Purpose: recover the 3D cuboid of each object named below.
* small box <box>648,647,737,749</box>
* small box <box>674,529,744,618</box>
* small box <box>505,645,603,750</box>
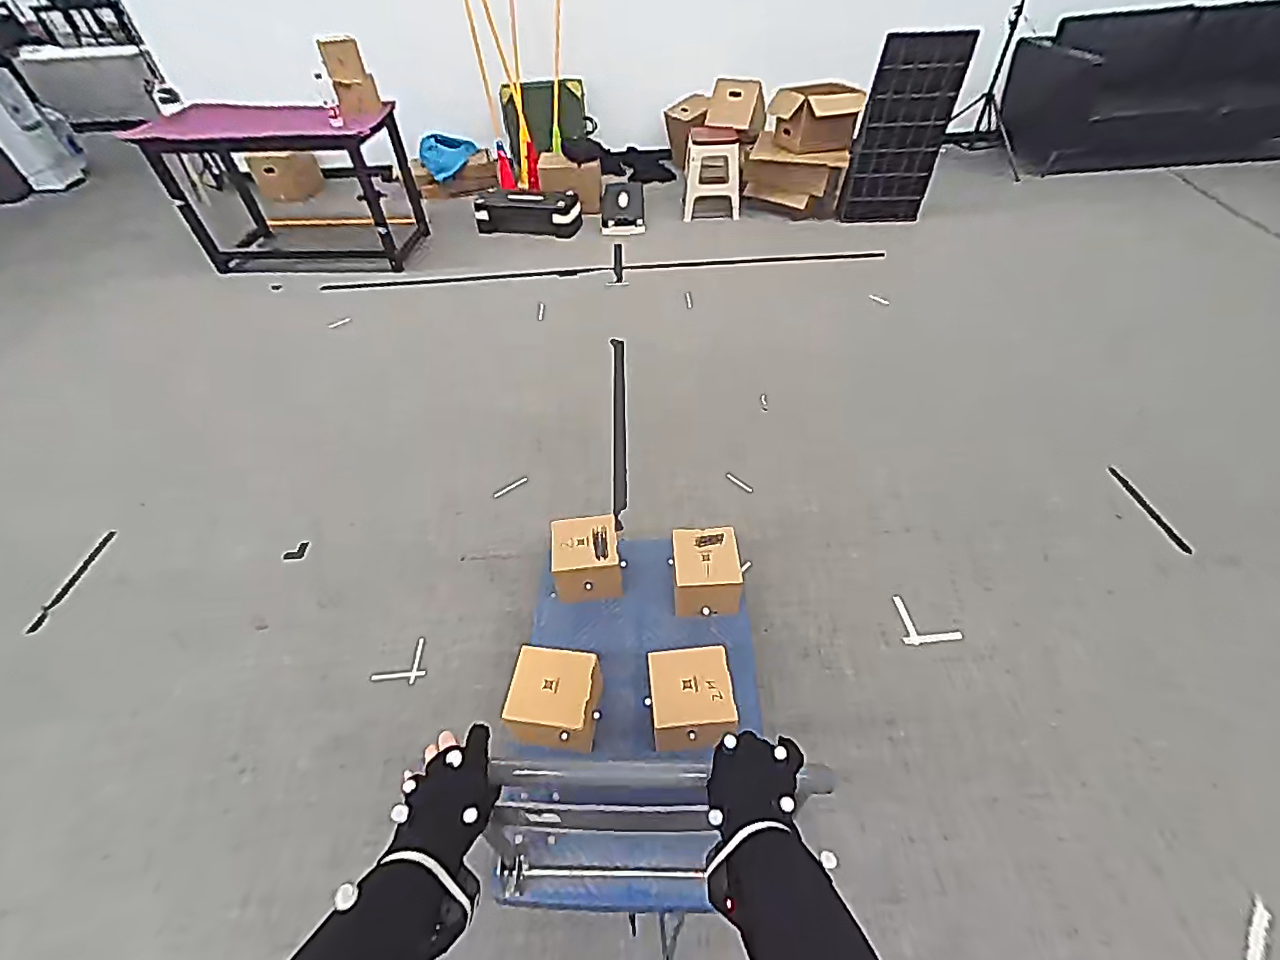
[{"bbox_3d":[0.115,0.499,1.230,0.179,0.176,0.168,-4,47,-1],"label":"small box"},{"bbox_3d":[0.177,0.252,1.455,0.168,0.176,0.179,-3,48,1],"label":"small box"},{"bbox_3d":[-0.189,0.502,1.243,0.179,0.176,0.168,5,47,6],"label":"small box"}]
